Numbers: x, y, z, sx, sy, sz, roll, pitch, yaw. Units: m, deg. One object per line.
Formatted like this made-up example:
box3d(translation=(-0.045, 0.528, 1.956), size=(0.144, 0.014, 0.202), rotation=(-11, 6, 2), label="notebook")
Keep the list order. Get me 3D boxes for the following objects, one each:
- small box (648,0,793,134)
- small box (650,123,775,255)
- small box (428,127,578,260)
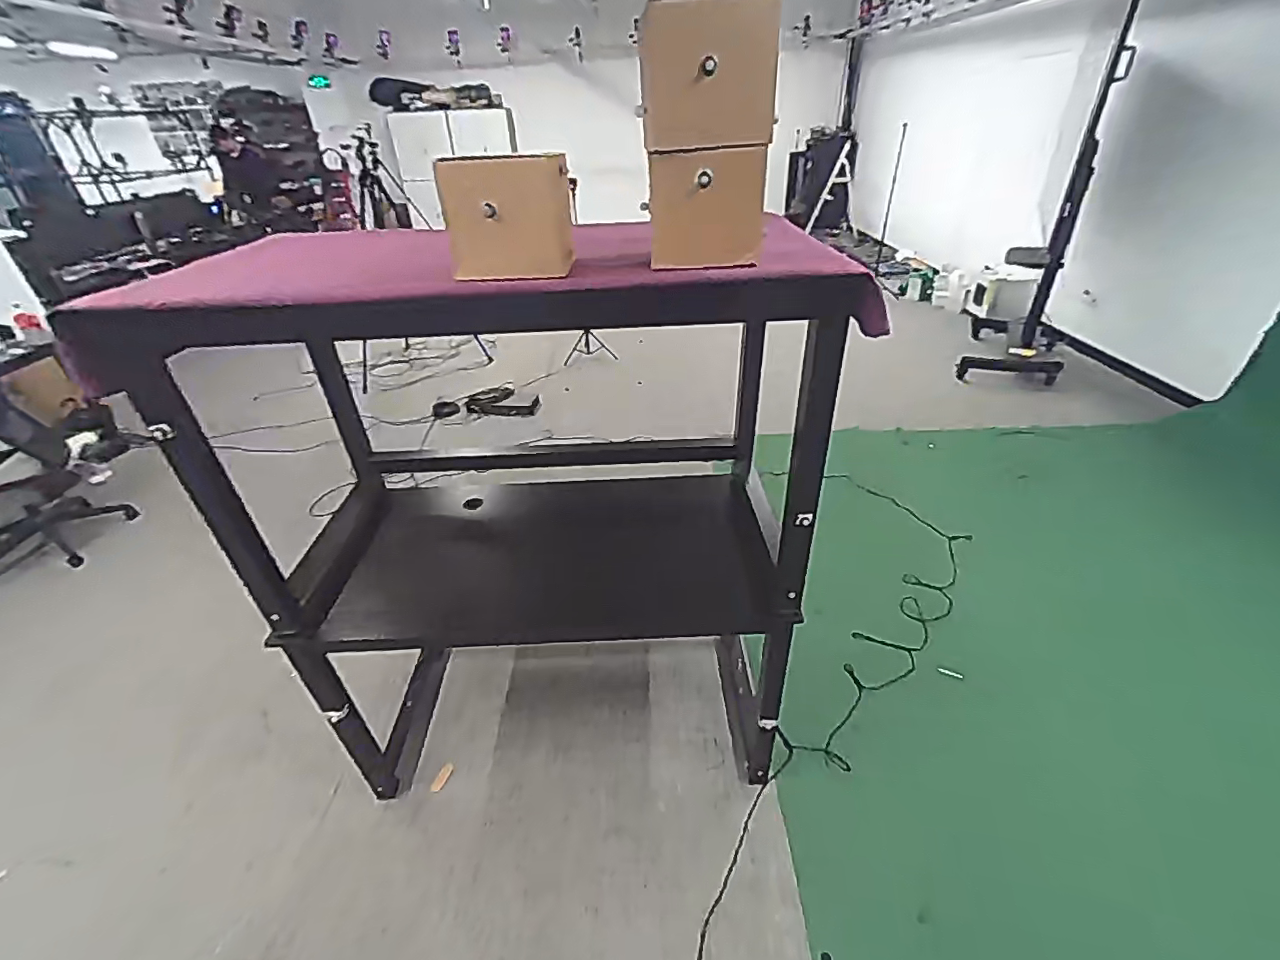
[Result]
box3d(translation=(0.103, -0.593, 0.761), size=(0.179, 0.176, 0.168), rotation=(-4, 34, -1), label="small box")
box3d(translation=(0.109, -0.459, 0.854), size=(0.179, 0.176, 0.168), rotation=(1, 34, 4), label="small box")
box3d(translation=(-0.200, -0.448, 0.846), size=(0.179, 0.176, 0.168), rotation=(0, 34, 2), label="small box")
